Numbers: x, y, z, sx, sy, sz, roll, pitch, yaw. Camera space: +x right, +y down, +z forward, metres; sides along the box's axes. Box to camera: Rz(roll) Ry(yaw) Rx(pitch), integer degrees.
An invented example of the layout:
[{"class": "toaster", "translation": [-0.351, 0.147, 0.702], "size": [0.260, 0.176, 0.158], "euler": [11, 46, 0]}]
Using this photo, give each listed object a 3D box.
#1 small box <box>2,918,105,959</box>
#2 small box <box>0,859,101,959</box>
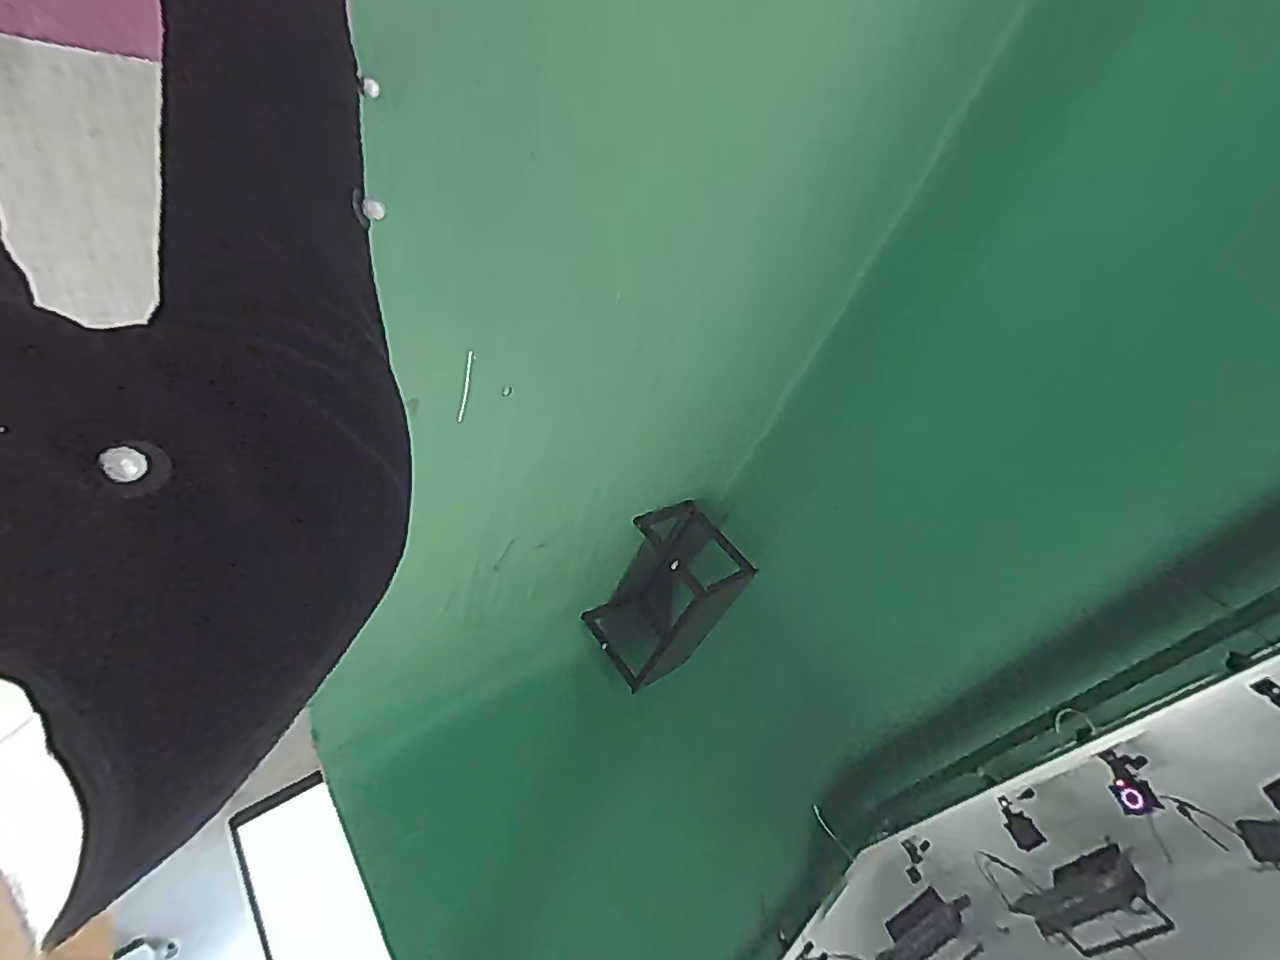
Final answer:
[{"class": "small box", "translation": [-1.511, 1.286, 1.397], "size": [0.168, 0.176, 0.179], "euler": [-16, 144, -43]}, {"class": "small box", "translation": [-1.609, 1.178, 1.470], "size": [0.168, 0.176, 0.179], "euler": [-16, 144, -42]}]
